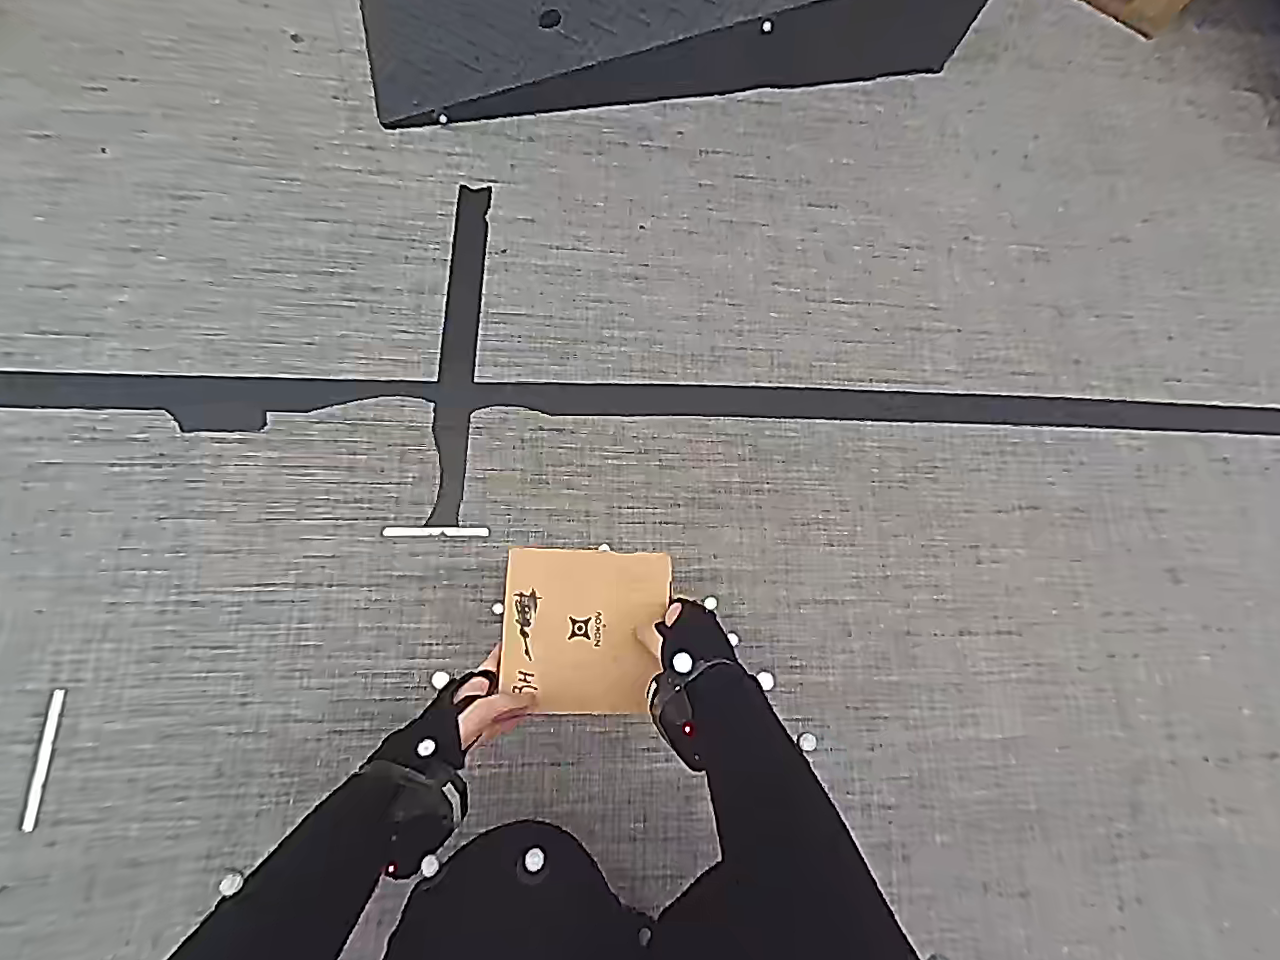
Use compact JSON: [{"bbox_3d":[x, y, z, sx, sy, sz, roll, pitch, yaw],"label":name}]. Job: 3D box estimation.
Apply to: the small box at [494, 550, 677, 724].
[{"bbox_3d":[-0.061,0.173,0.622,0.179,0.176,0.168,4,77,-6],"label":"small box"}]
